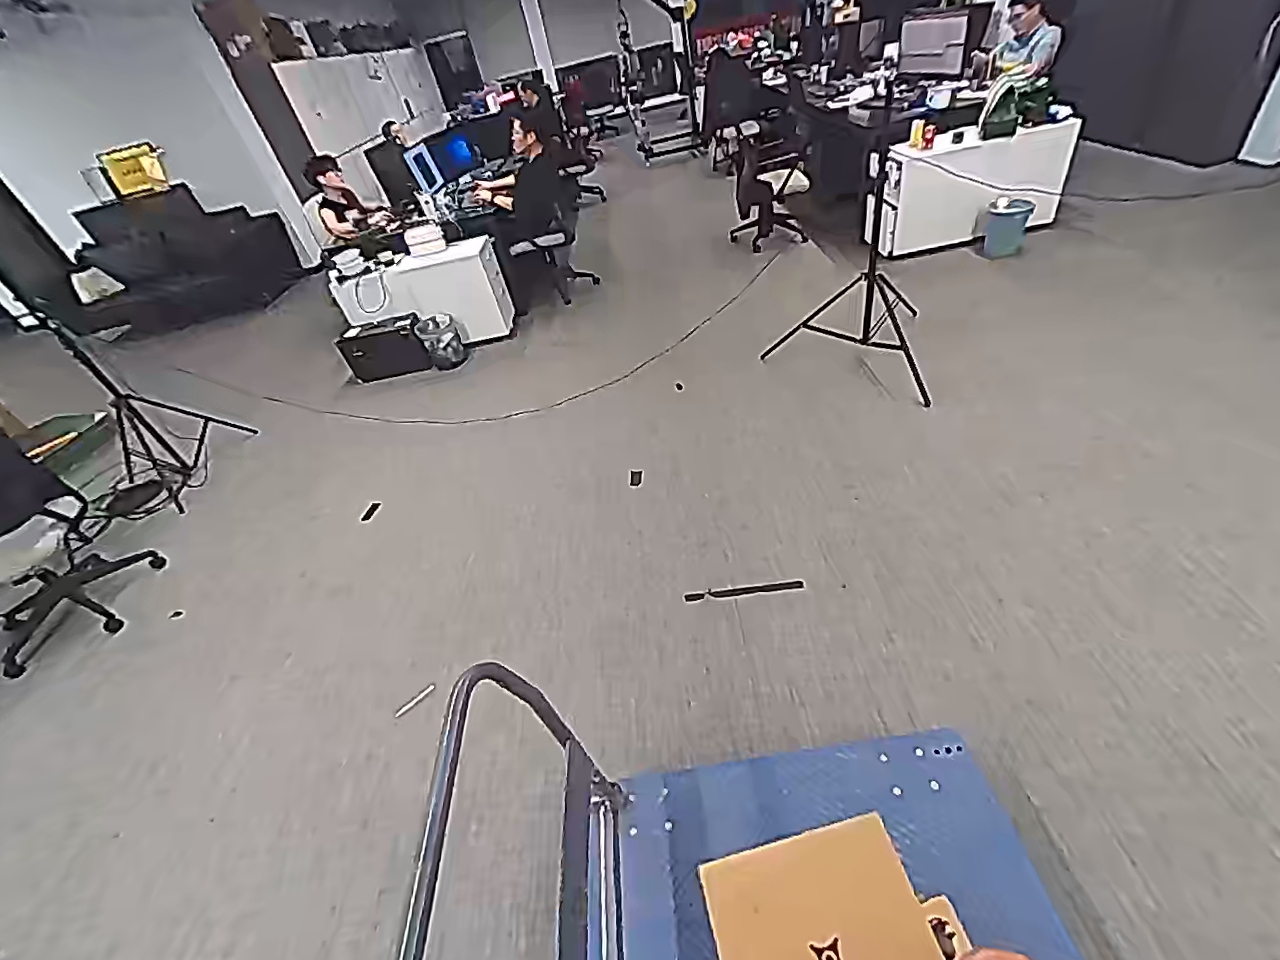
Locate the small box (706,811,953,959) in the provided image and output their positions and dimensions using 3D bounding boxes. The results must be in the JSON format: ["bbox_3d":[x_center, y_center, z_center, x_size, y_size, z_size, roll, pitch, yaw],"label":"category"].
[{"bbox_3d":[0.165,0.419,0.462,0.168,0.176,0.179,-17,45,0],"label":"small box"}]
